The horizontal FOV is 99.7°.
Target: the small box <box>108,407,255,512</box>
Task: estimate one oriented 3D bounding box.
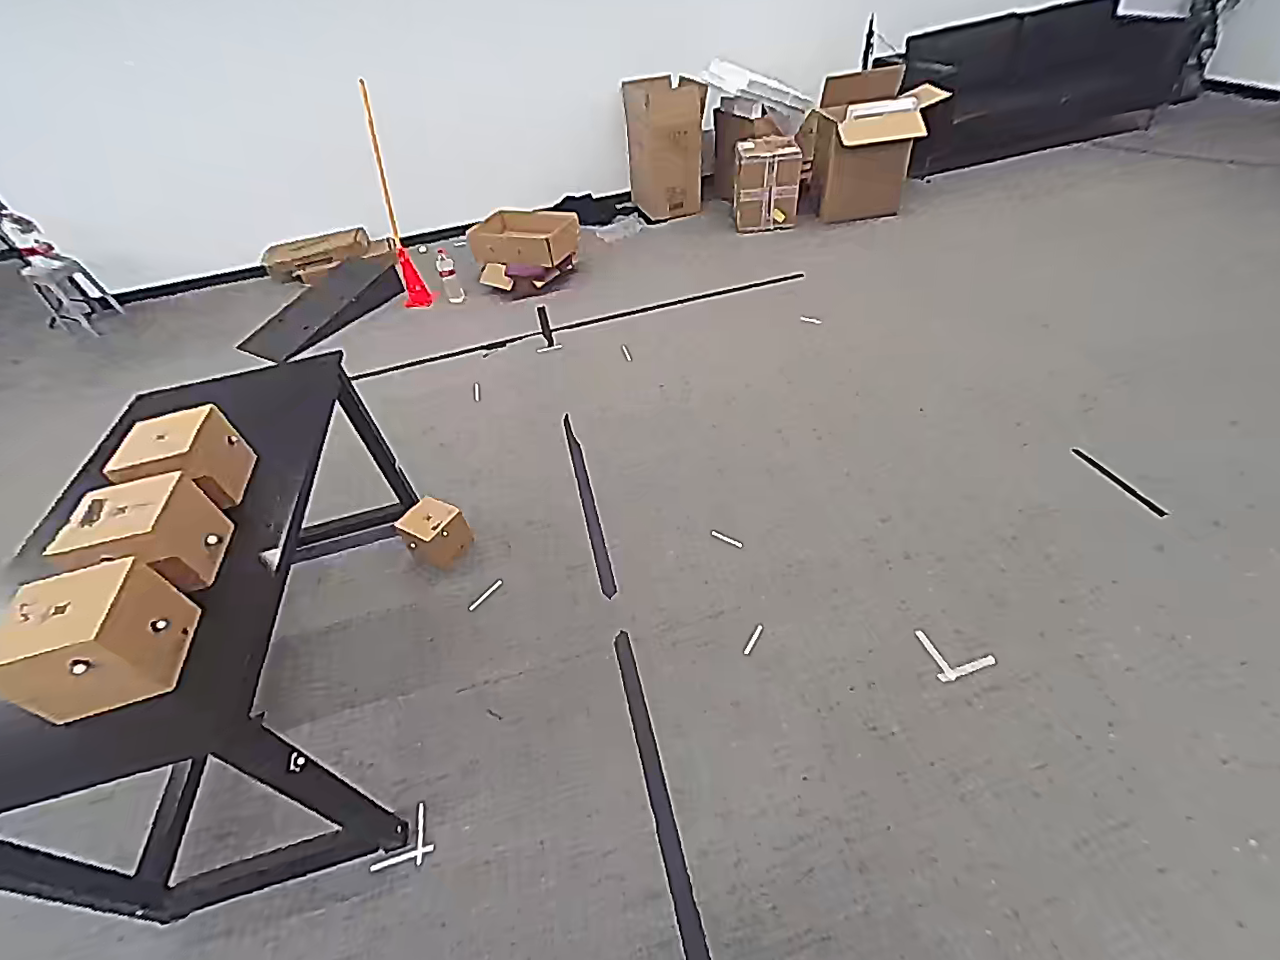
[{"bbox_3d":[-1.002,-0.032,1.205,0.168,0.176,0.179,-17,46,-6],"label":"small box"}]

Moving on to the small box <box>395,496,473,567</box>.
[{"bbox_3d":[-0.748,0.191,1.979,0.179,0.176,0.168,18,50,24],"label":"small box"}]

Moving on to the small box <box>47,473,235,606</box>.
[{"bbox_3d":[-0.938,0.118,1.040,0.179,0.176,0.168,-14,45,-6],"label":"small box"}]
